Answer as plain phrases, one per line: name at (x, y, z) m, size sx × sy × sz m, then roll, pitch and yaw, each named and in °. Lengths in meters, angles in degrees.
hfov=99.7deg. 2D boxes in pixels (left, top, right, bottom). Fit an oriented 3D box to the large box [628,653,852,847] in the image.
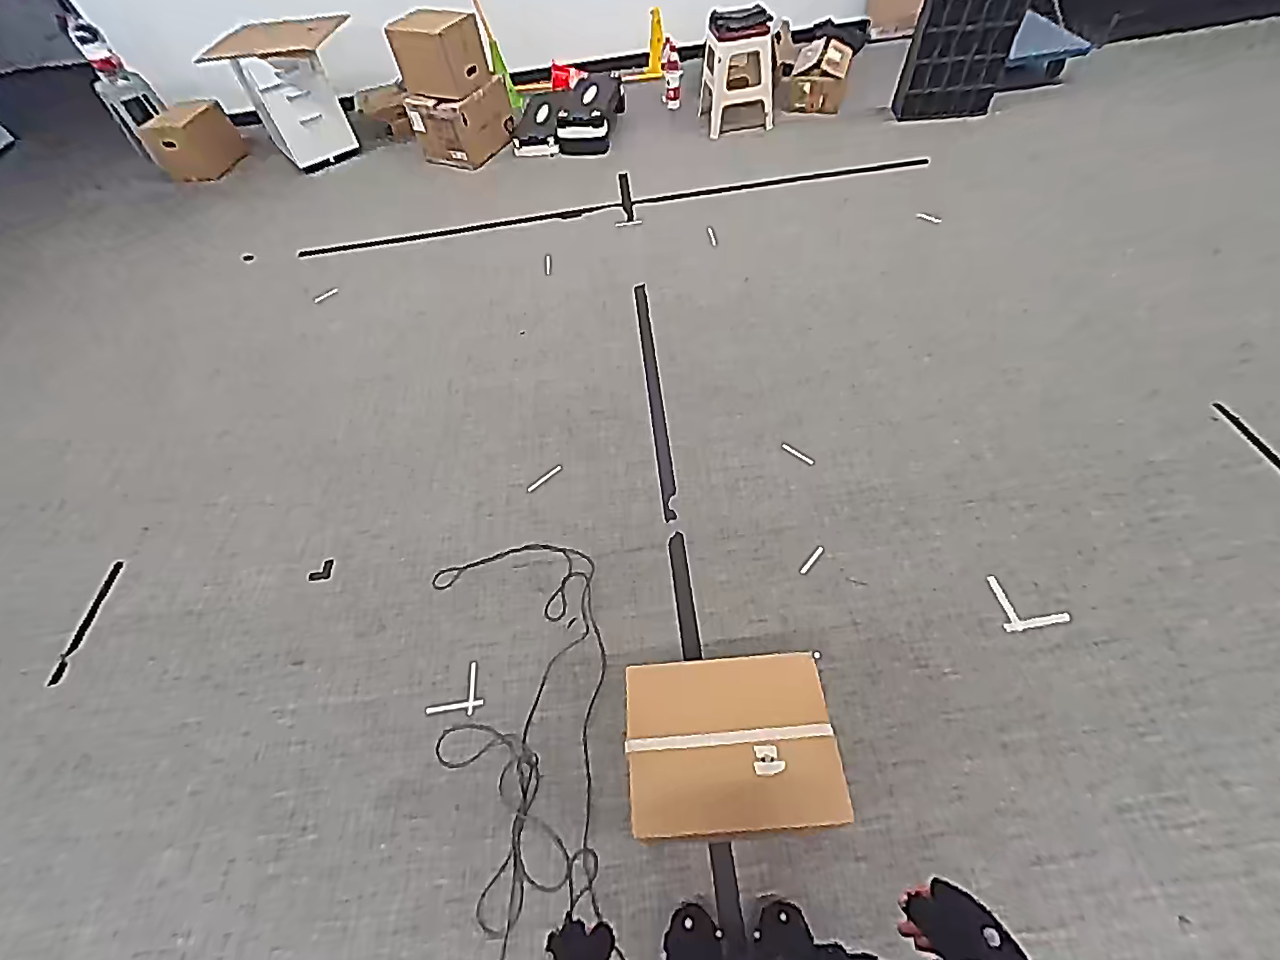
large box at (0.192, 0.605, 1.197) m, size 0.408 × 0.320 × 0.320 m, roll -5°, pitch 54°, yaw 2°
